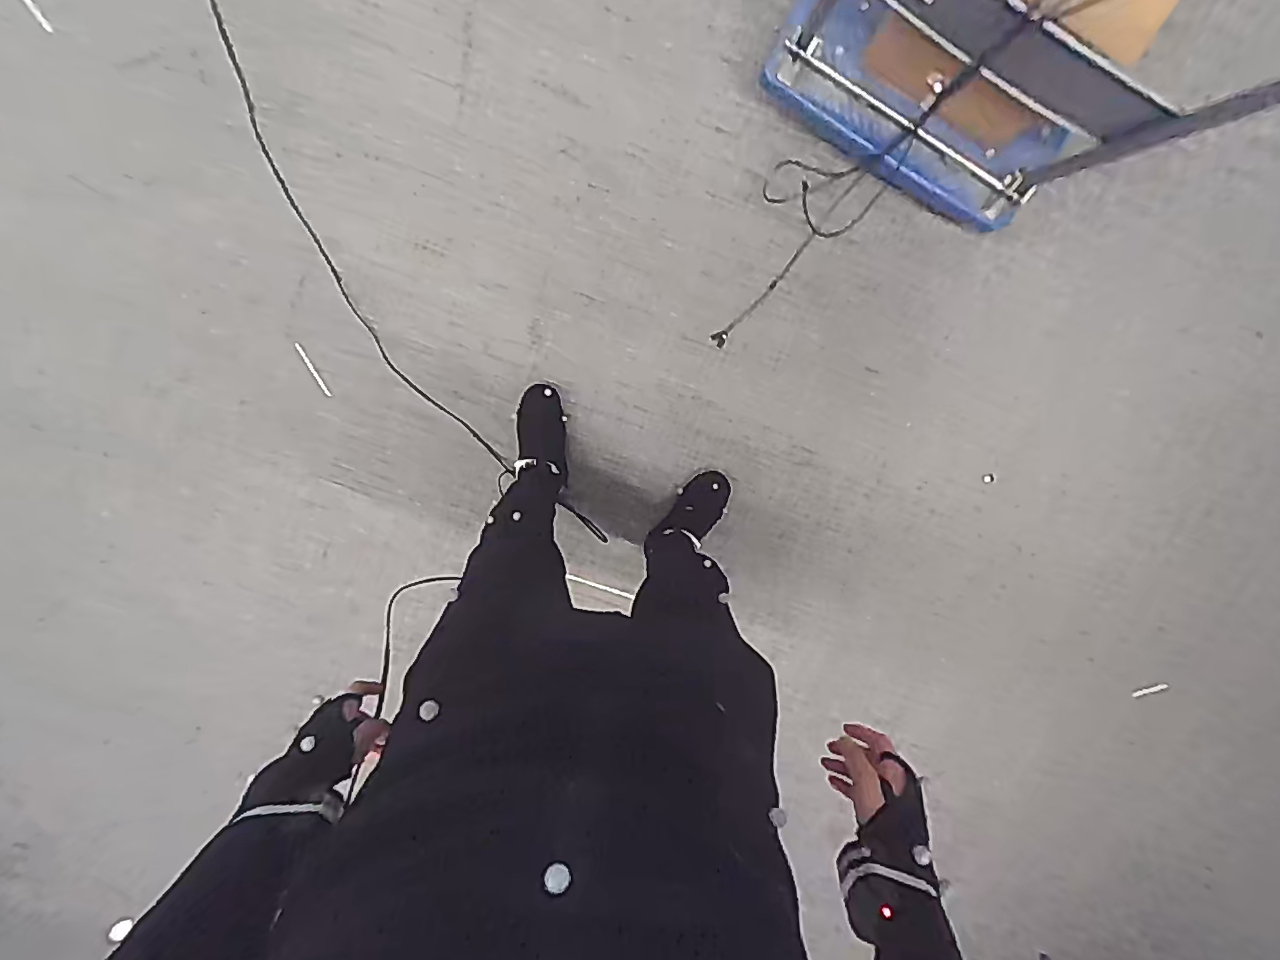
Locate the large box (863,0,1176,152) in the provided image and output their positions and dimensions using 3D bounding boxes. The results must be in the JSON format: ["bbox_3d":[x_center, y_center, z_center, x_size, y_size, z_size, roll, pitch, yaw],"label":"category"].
[{"bbox_3d":[0.627,-0.823,0.832,0.320,0.320,0.408,28,102,-6],"label":"large box"}]
